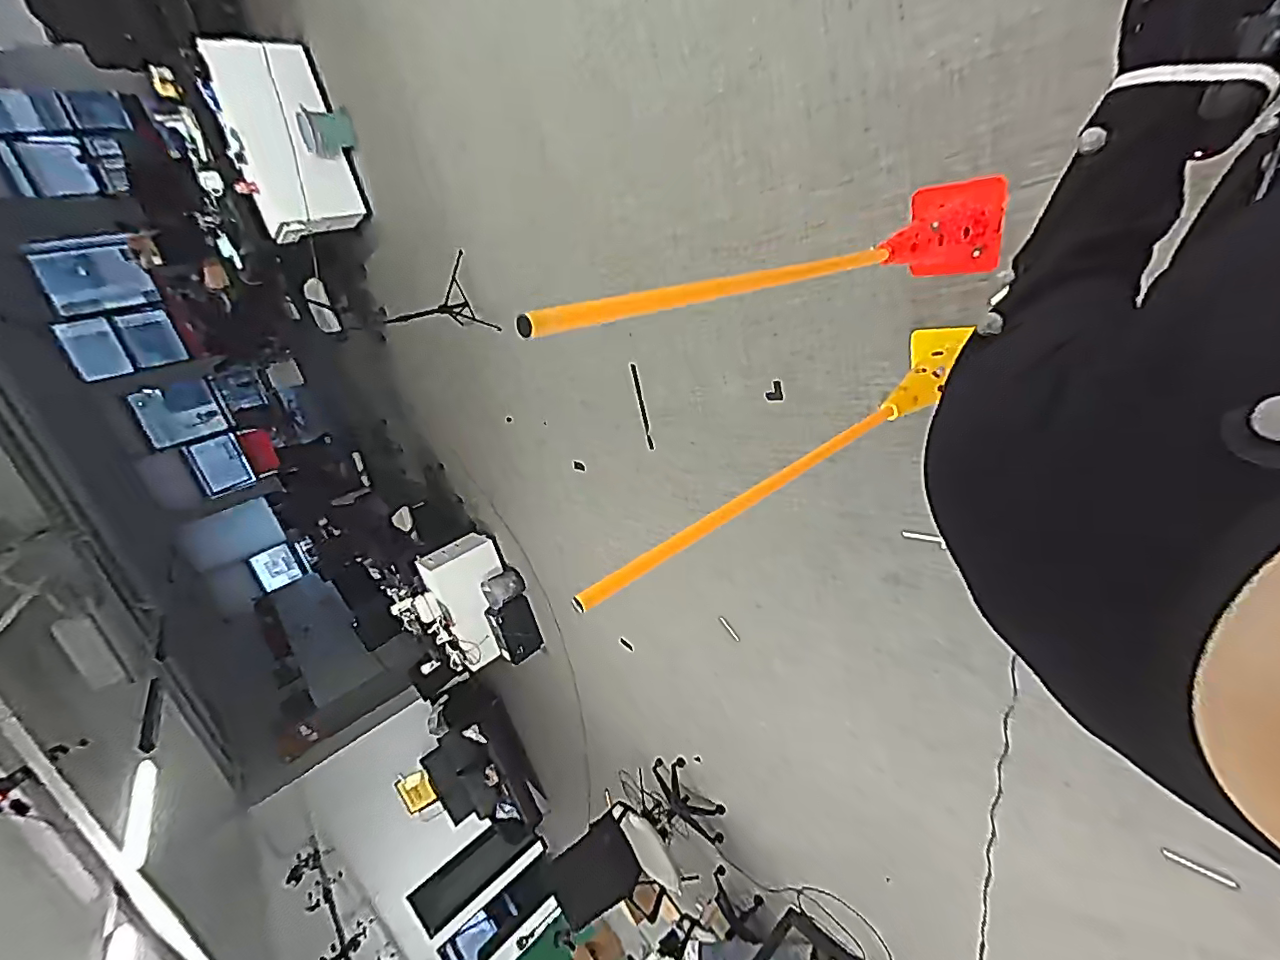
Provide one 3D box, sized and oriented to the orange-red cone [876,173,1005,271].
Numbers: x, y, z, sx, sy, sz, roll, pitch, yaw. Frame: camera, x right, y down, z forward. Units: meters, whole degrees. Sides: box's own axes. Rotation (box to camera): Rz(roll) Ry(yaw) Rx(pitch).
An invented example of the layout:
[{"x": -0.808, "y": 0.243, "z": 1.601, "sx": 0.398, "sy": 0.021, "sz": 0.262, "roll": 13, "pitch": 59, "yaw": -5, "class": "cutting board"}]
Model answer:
[{"x": 0.605, "y": -0.527, "z": 1.161, "sx": 0.198, "sy": 0.360, "sz": 0.199, "roll": 18, "pitch": 126, "yaw": 44, "class": "orange-red cone"}]
